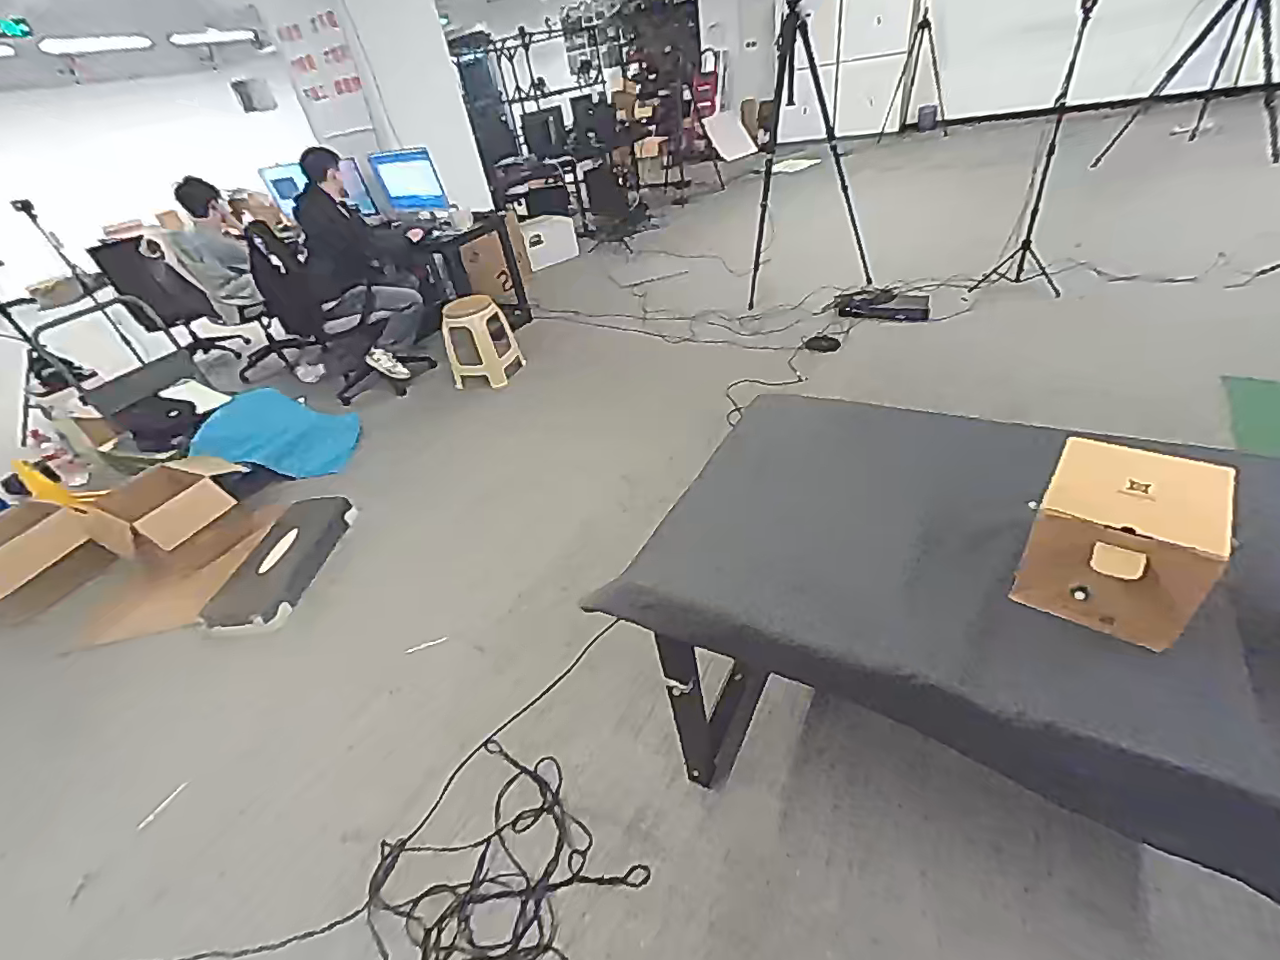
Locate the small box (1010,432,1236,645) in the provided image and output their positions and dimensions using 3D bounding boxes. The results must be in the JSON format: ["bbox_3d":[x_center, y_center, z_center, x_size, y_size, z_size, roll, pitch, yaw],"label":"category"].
[{"bbox_3d":[0.603,0.069,0.690,0.168,0.176,0.179,22,48,35],"label":"small box"}]
